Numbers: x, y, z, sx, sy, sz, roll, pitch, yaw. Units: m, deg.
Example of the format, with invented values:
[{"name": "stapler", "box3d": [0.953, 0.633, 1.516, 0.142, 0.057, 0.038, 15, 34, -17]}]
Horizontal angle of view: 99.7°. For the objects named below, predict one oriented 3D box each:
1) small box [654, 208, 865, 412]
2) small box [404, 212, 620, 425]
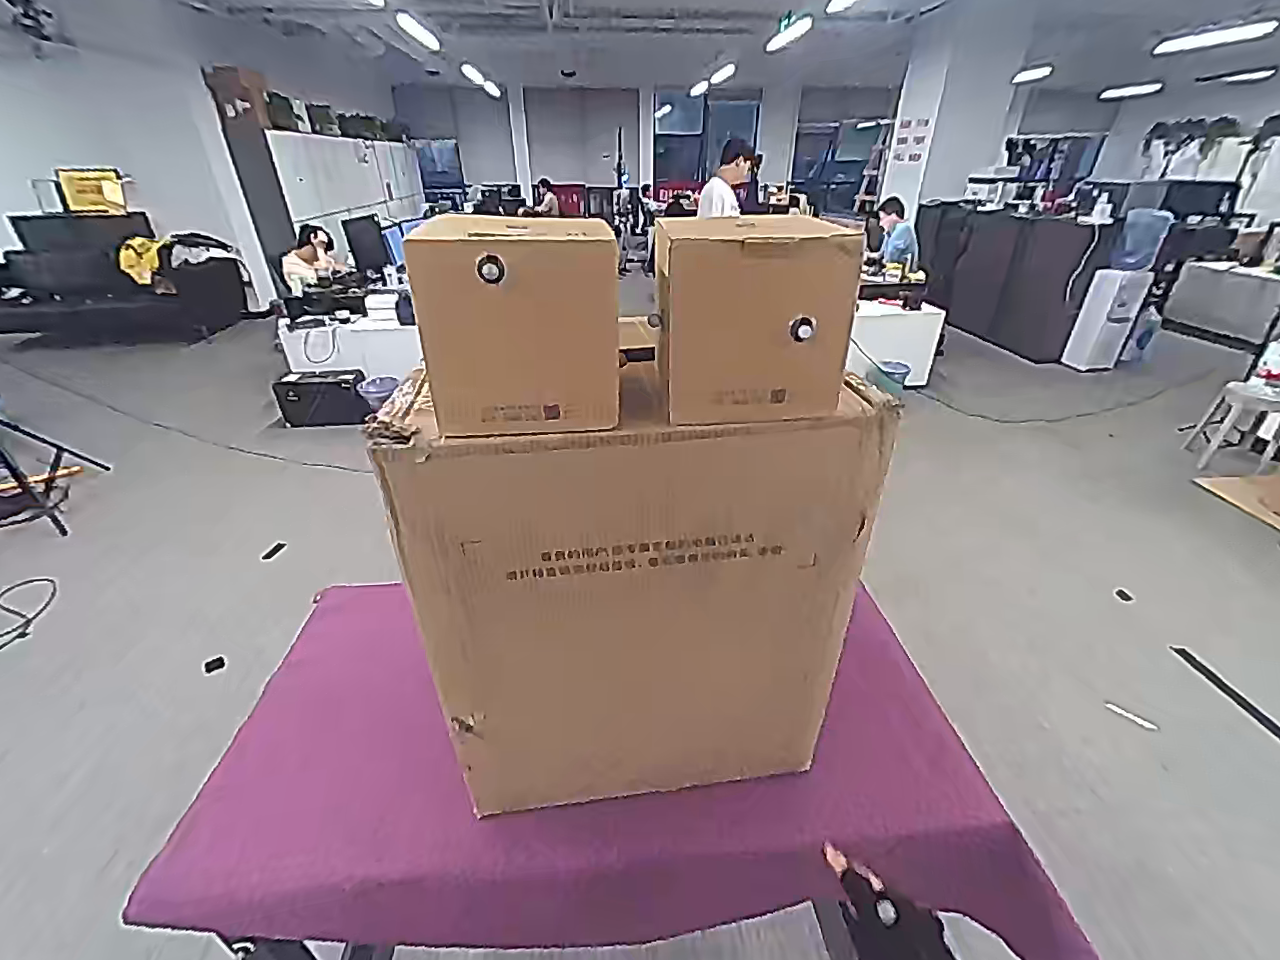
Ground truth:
[{"name": "small box", "box3d": [0.102, -0.174, 0.548, 0.168, 0.176, 0.179, -2, 30, -3]}, {"name": "small box", "box3d": [-0.108, -0.162, 0.525, 0.168, 0.176, 0.179, -4, 30, -6]}]
